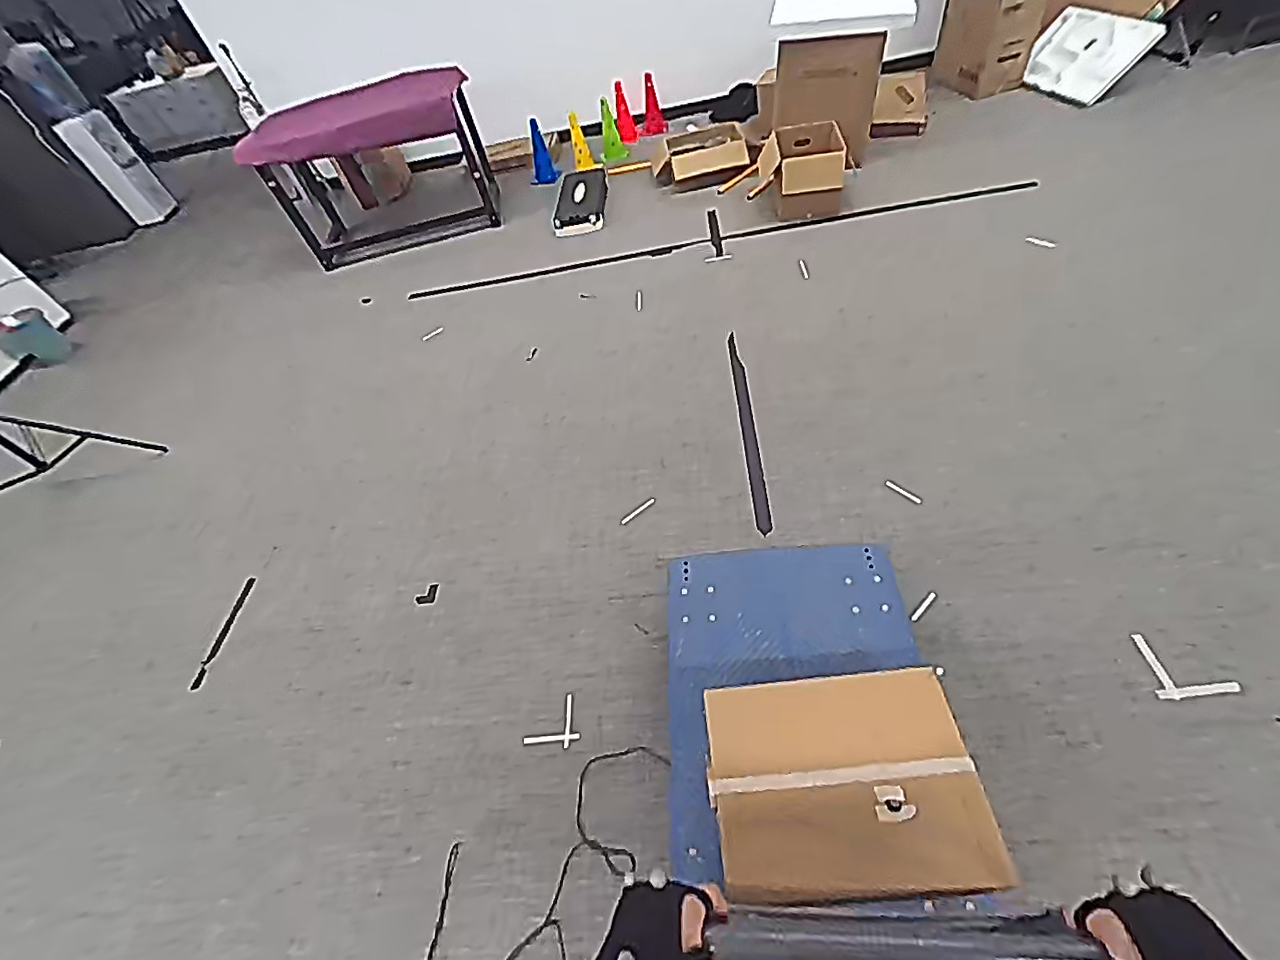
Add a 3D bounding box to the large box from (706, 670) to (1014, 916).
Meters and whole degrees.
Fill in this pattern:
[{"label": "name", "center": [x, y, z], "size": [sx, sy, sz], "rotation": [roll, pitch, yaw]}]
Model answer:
[{"label": "large box", "center": [0.347, 0.575, 0.981], "size": [0.408, 0.320, 0.320], "rotation": [-8, 50, 5]}]
